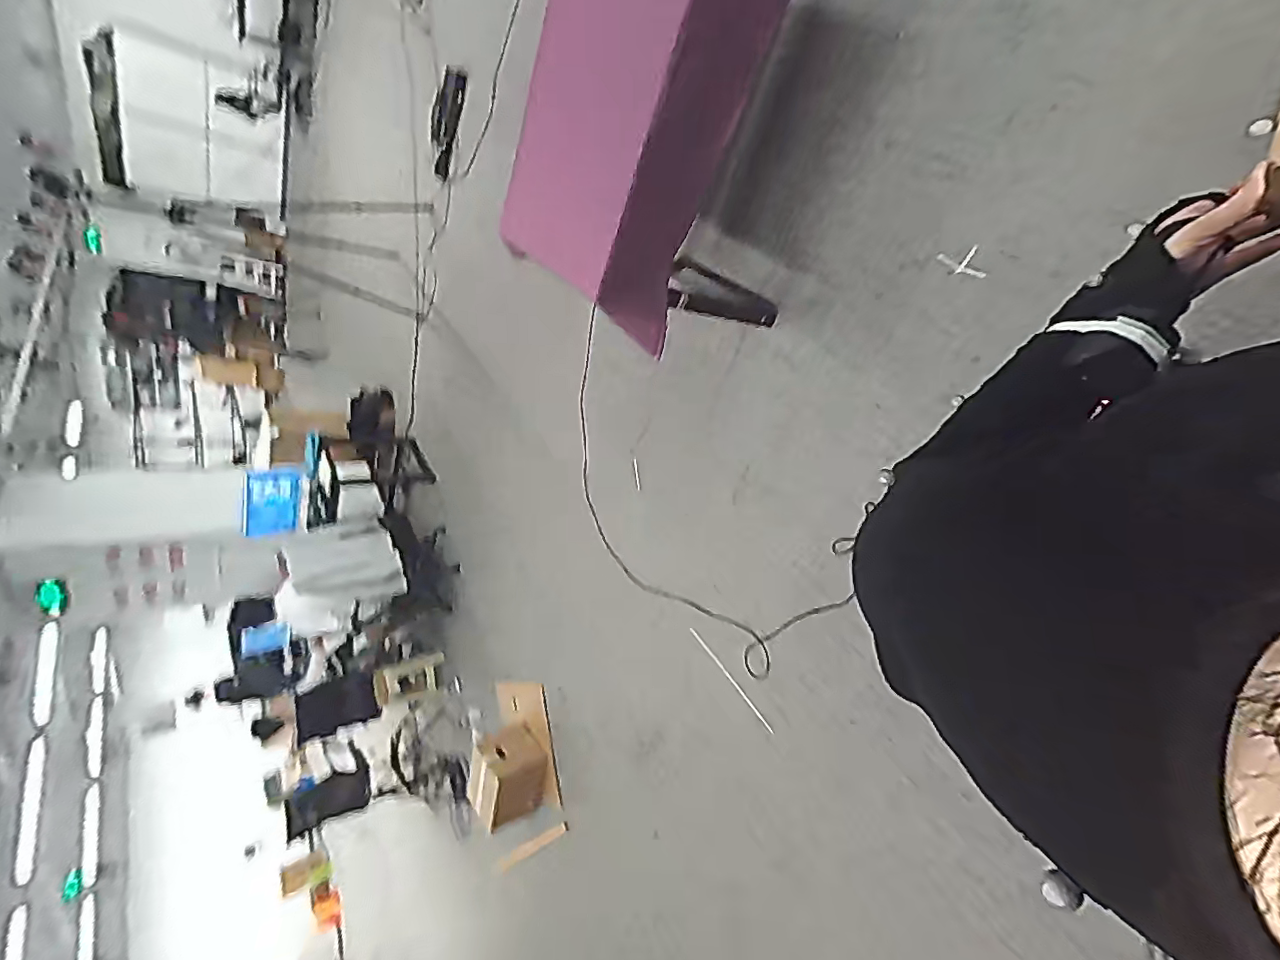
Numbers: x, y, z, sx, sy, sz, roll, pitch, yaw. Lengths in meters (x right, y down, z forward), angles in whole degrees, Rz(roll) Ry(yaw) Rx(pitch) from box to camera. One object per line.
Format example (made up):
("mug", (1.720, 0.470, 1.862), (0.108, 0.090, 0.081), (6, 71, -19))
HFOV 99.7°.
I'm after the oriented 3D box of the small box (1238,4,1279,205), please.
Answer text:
("small box", (0.489, -0.271, 0.311), (0.168, 0.176, 0.179), (15, 109, 46))
